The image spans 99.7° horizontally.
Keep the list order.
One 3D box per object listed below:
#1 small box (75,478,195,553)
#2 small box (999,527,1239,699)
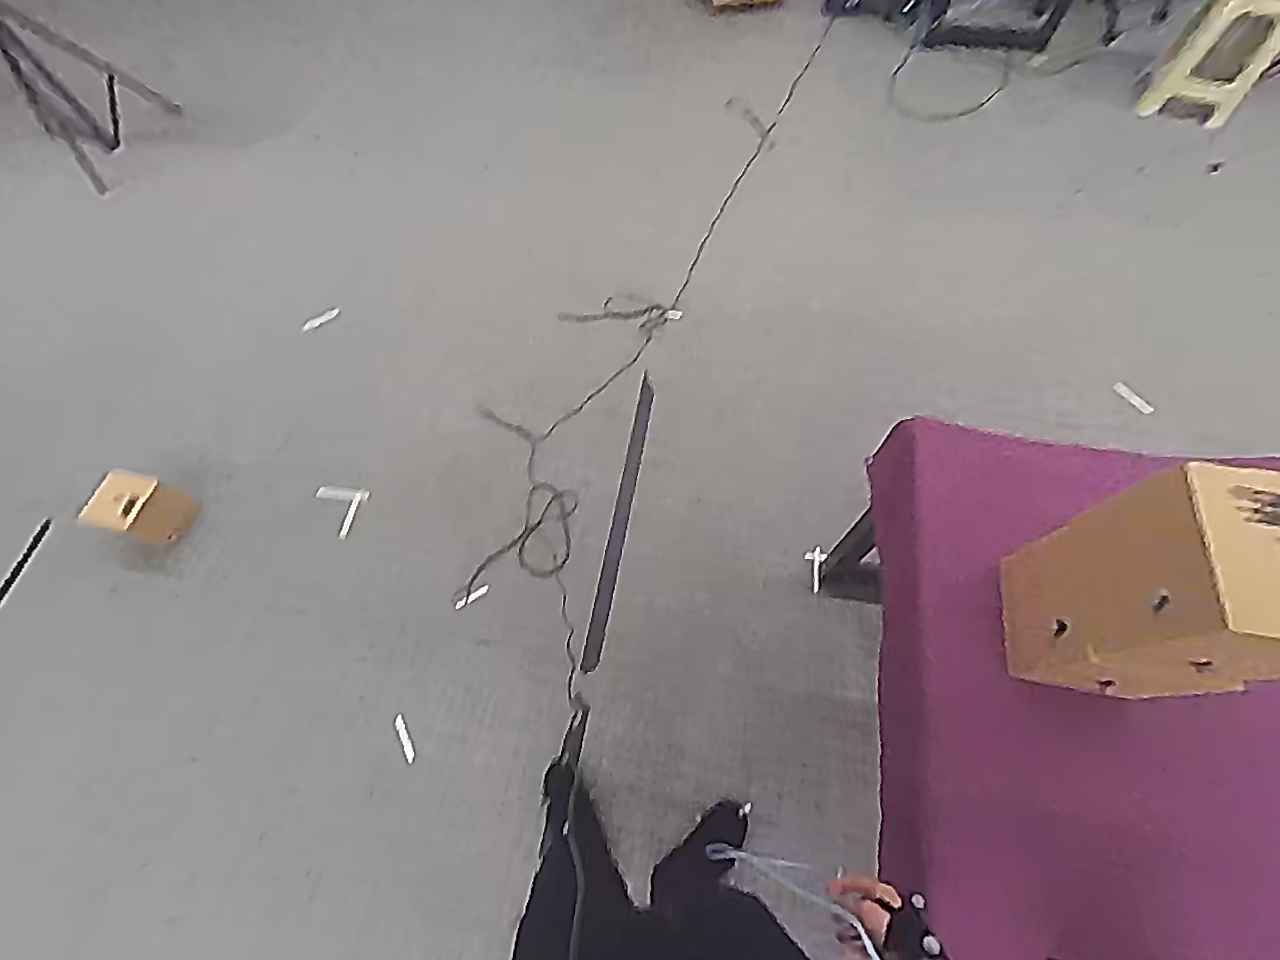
[{"bbox_3d":[-1.545,0.116,1.669,0.179,0.176,0.168,10,64,8],"label":"small box"},{"bbox_3d":[0.613,0.184,0.721,0.168,0.176,0.179,10,65,7],"label":"small box"}]
